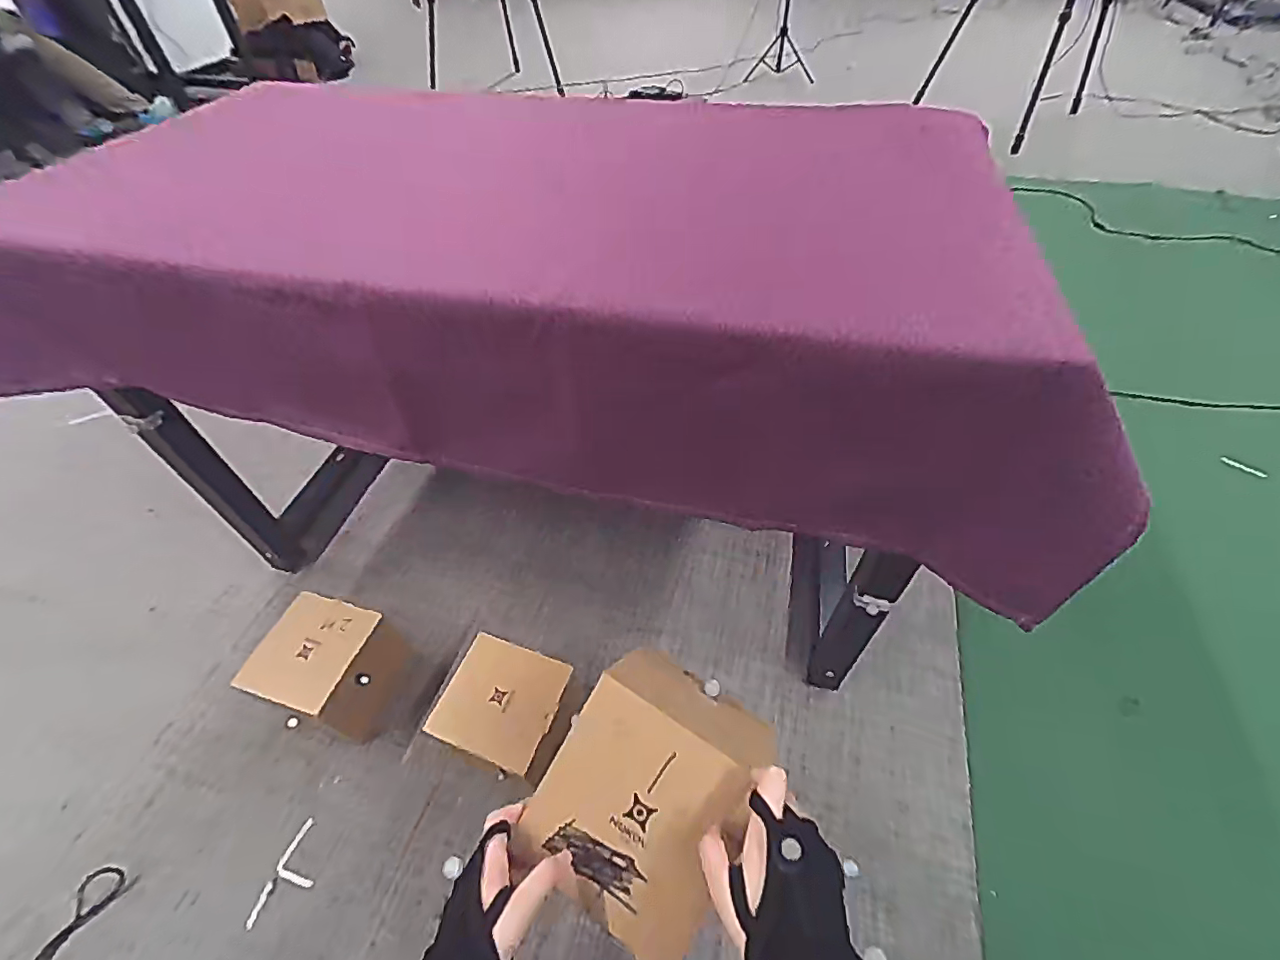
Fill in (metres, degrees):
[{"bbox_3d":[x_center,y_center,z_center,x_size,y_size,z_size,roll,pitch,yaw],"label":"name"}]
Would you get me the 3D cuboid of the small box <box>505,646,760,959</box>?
[{"bbox_3d":[0.008,0.289,0.529,0.168,0.176,0.179,29,89,15],"label":"small box"}]
